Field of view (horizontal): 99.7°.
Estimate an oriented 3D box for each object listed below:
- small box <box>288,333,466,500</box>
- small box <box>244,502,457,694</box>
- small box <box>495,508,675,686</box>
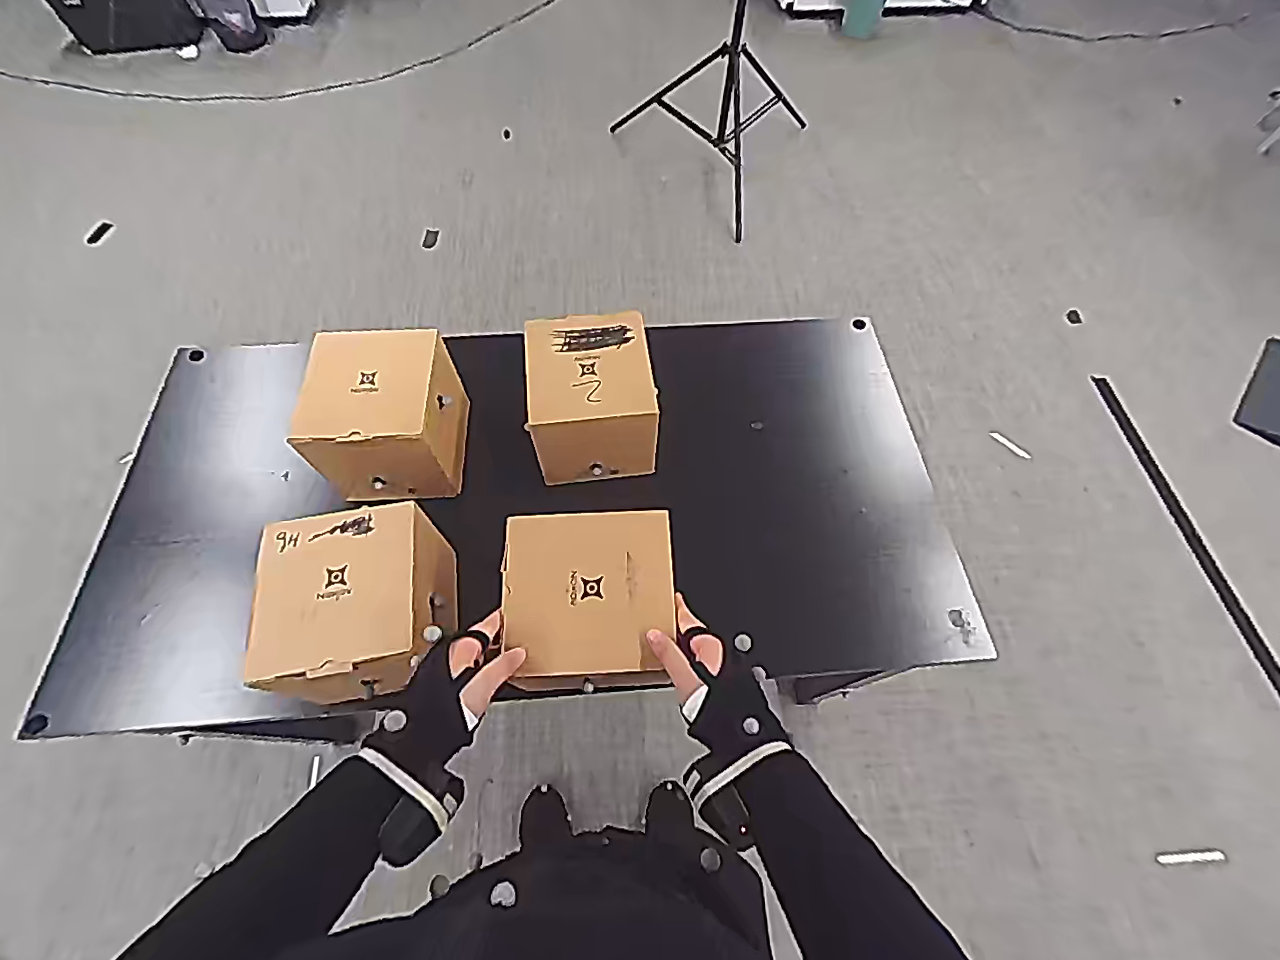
[{"bbox_3d":[-0.356,-0.087,0.773,0.168,0.176,0.179,-3,62,-2],"label":"small box"},{"bbox_3d":[-0.324,0.149,0.645,0.168,0.176,0.179,-9,63,-6],"label":"small box"},{"bbox_3d":[-0.056,0.141,0.623,0.179,0.176,0.168,-3,65,-2],"label":"small box"}]
